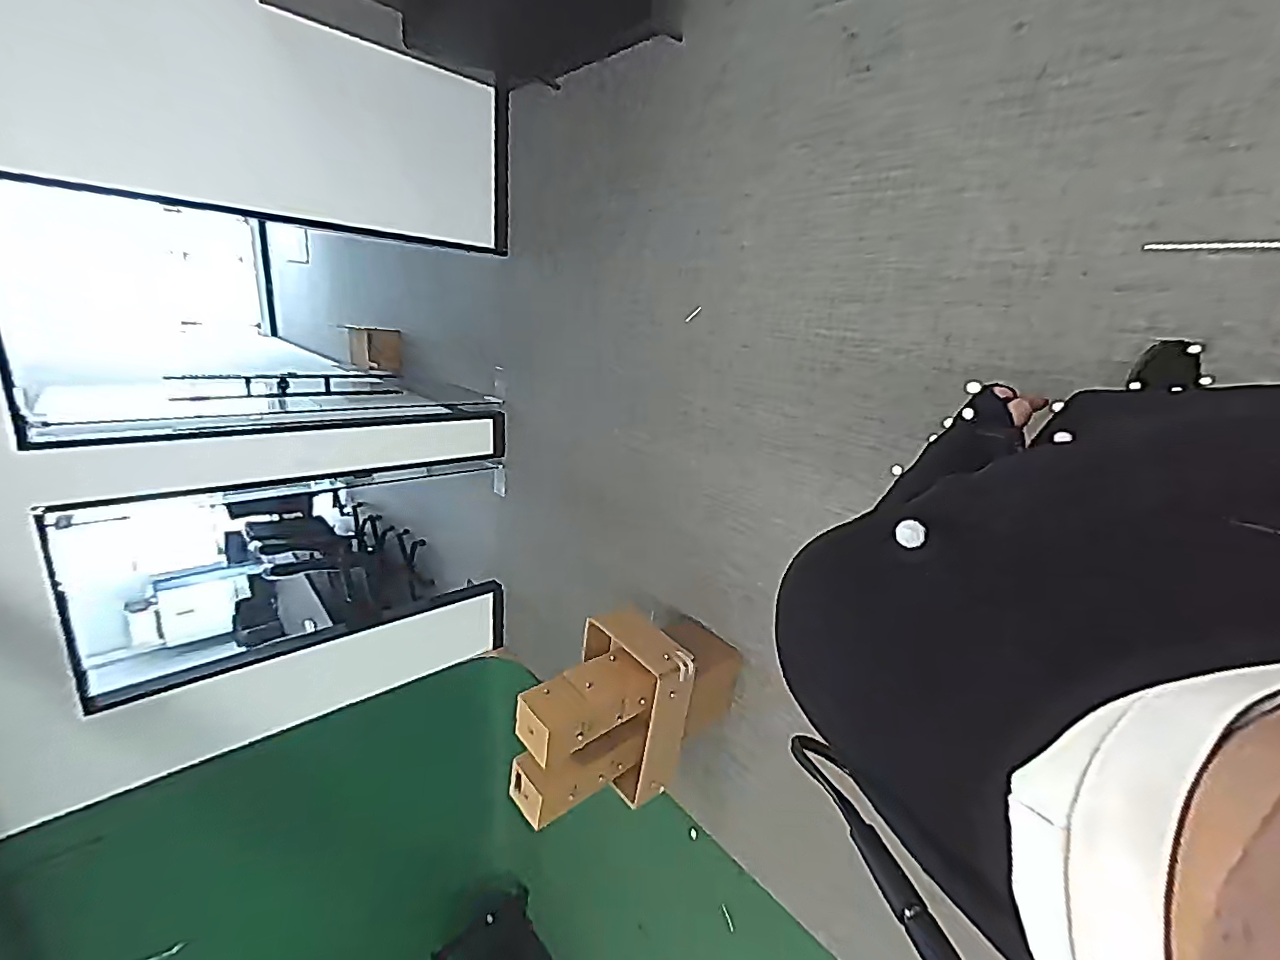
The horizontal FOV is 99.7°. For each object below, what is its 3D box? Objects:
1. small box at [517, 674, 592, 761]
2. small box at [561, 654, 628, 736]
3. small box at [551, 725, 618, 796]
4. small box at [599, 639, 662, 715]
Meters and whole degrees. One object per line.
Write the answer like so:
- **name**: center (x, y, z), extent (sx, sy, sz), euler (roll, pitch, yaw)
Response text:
- **small box**: center (-0.280, 0.759, 1.759), extent (0.179, 0.176, 0.168), euler (28, 119, 40)
- **small box**: center (-0.163, 0.734, 1.870), extent (0.179, 0.176, 0.168), euler (28, 118, 42)
- **small box**: center (-0.199, 0.990, 1.964), extent (0.179, 0.176, 0.168), euler (29, 118, 40)
- **small box**: center (-0.041, 0.711, 1.979), extent (0.179, 0.176, 0.168), euler (29, 119, 41)
